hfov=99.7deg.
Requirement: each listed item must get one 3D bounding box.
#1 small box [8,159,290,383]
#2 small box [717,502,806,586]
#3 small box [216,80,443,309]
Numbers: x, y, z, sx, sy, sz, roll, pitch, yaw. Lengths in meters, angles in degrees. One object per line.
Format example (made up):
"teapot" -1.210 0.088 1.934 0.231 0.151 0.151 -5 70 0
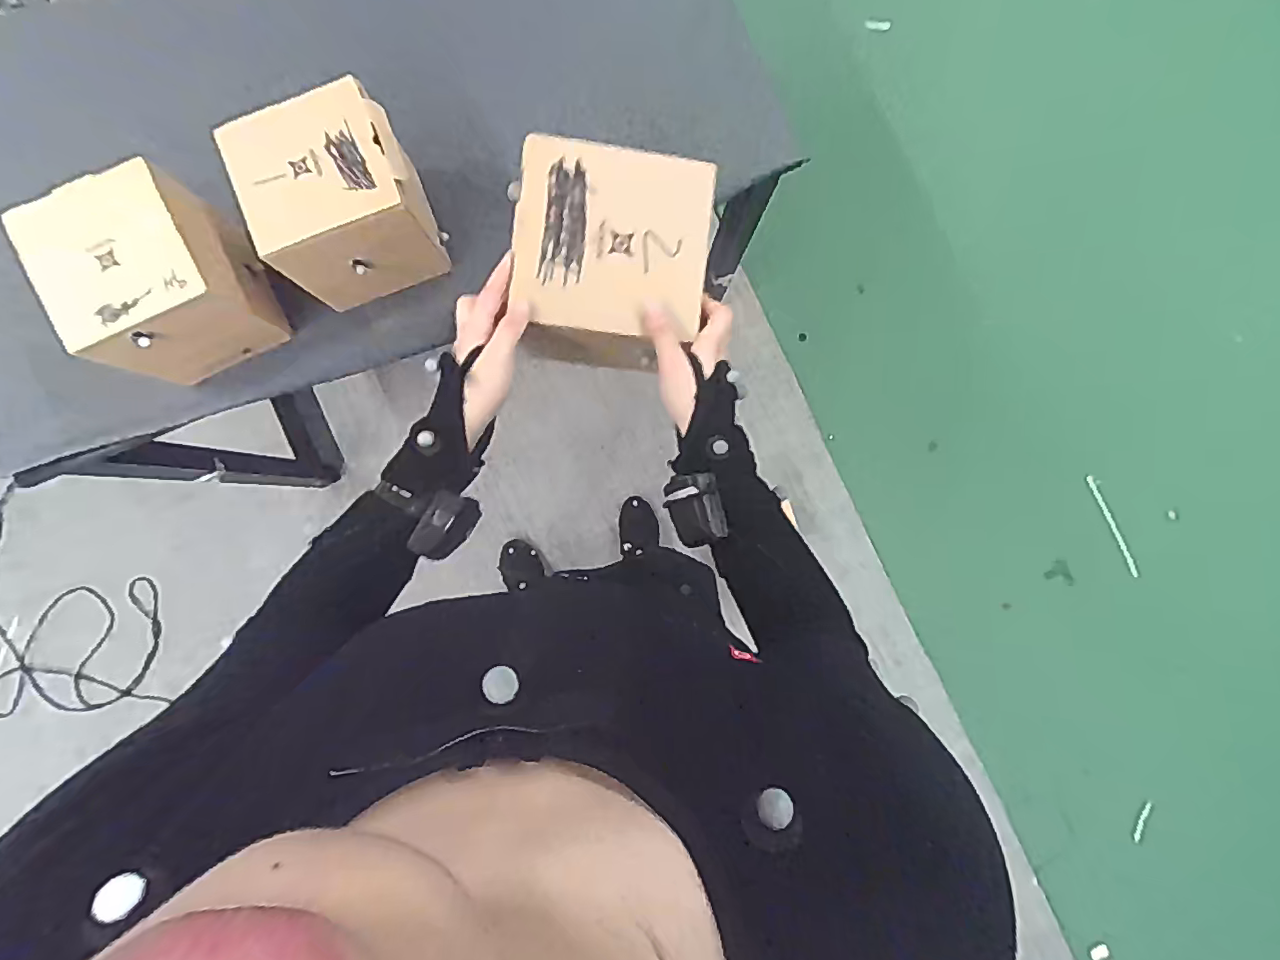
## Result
"small box" -0.592 -0.246 0.678 0.168 0.176 0.179 -26 88 -3
"small box" 0.314 0.161 1.421 0.168 0.176 0.179 -16 88 -3
"small box" -0.373 -0.347 0.690 0.179 0.176 0.168 -21 87 -1
